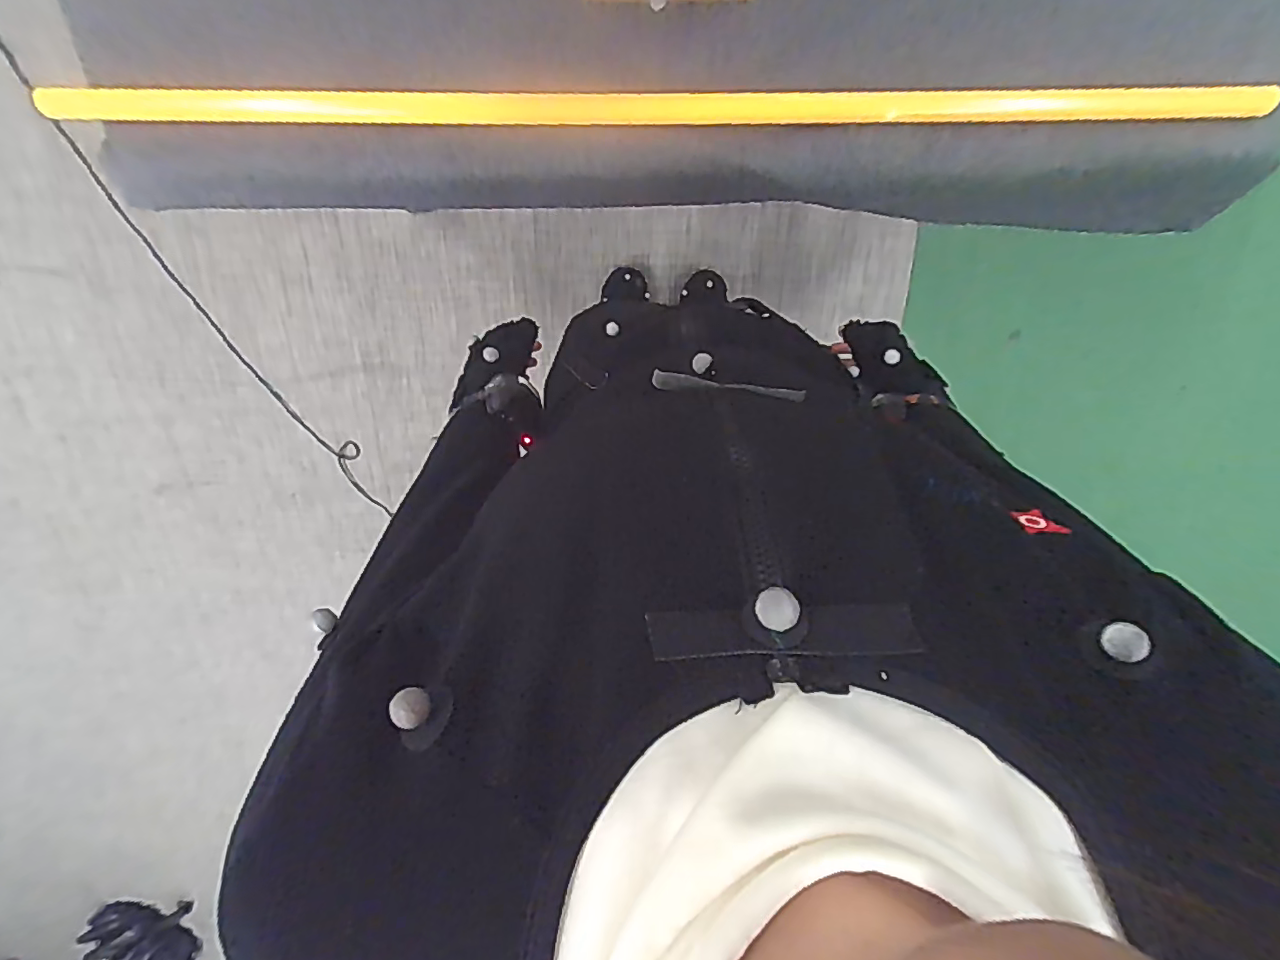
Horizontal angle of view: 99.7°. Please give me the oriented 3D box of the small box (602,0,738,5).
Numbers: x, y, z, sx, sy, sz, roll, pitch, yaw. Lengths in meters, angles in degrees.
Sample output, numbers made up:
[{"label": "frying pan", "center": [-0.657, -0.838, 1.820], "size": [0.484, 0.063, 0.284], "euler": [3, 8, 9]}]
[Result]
[{"label": "small box", "center": [0.028, -0.508, 0.412], "size": [0.168, 0.176, 0.179], "euler": [-1, 113, 2]}]
